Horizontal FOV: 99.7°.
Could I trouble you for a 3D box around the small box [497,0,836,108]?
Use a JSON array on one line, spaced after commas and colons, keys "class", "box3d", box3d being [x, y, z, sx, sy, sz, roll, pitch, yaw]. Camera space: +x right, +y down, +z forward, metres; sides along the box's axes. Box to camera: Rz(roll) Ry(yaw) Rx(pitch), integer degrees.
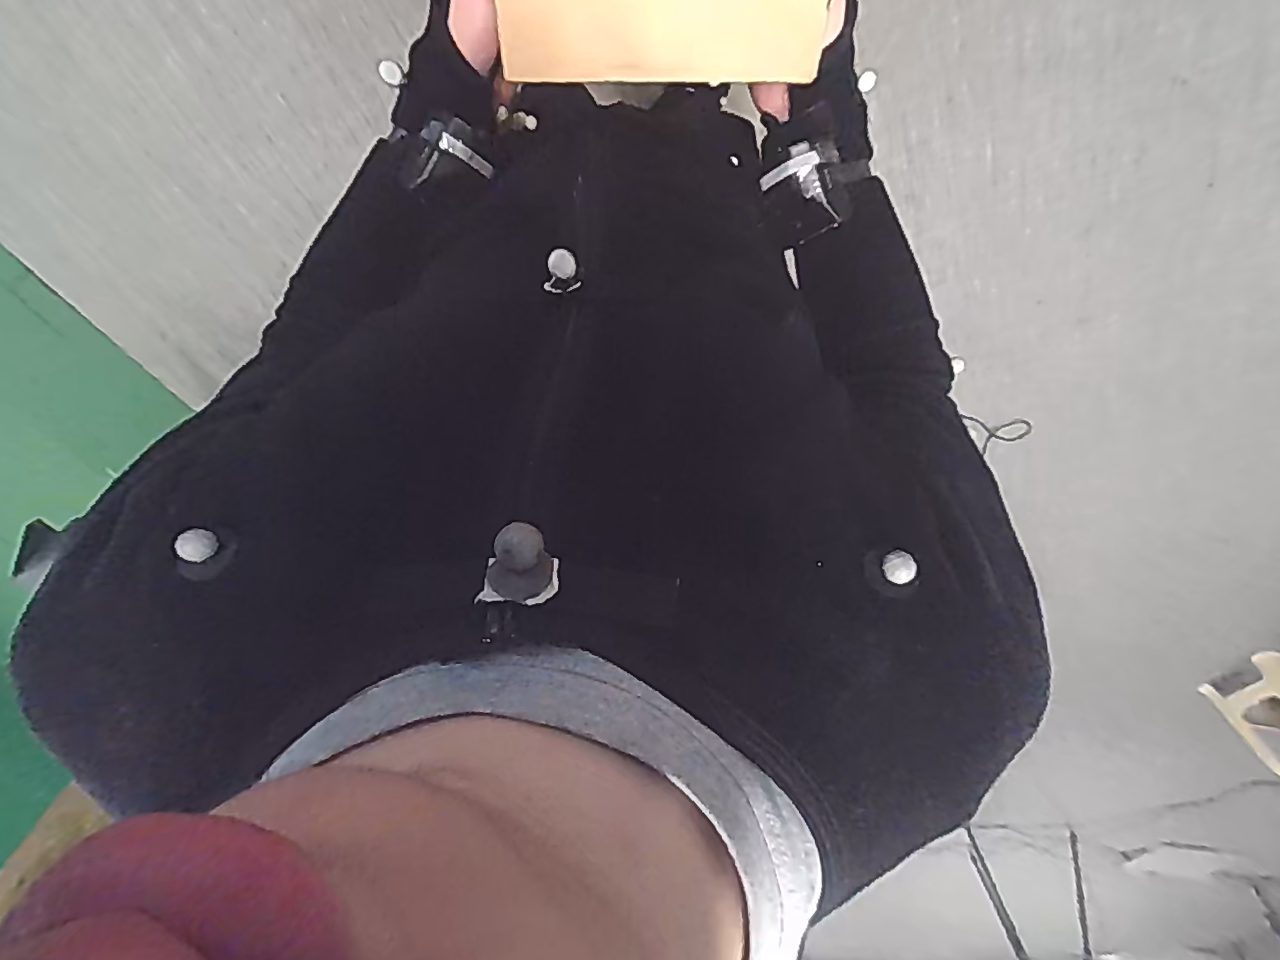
[{"class": "small box", "box3d": [0.009, -0.326, 0.304, 0.179, 0.176, 0.168, -2, 135, -2]}]
